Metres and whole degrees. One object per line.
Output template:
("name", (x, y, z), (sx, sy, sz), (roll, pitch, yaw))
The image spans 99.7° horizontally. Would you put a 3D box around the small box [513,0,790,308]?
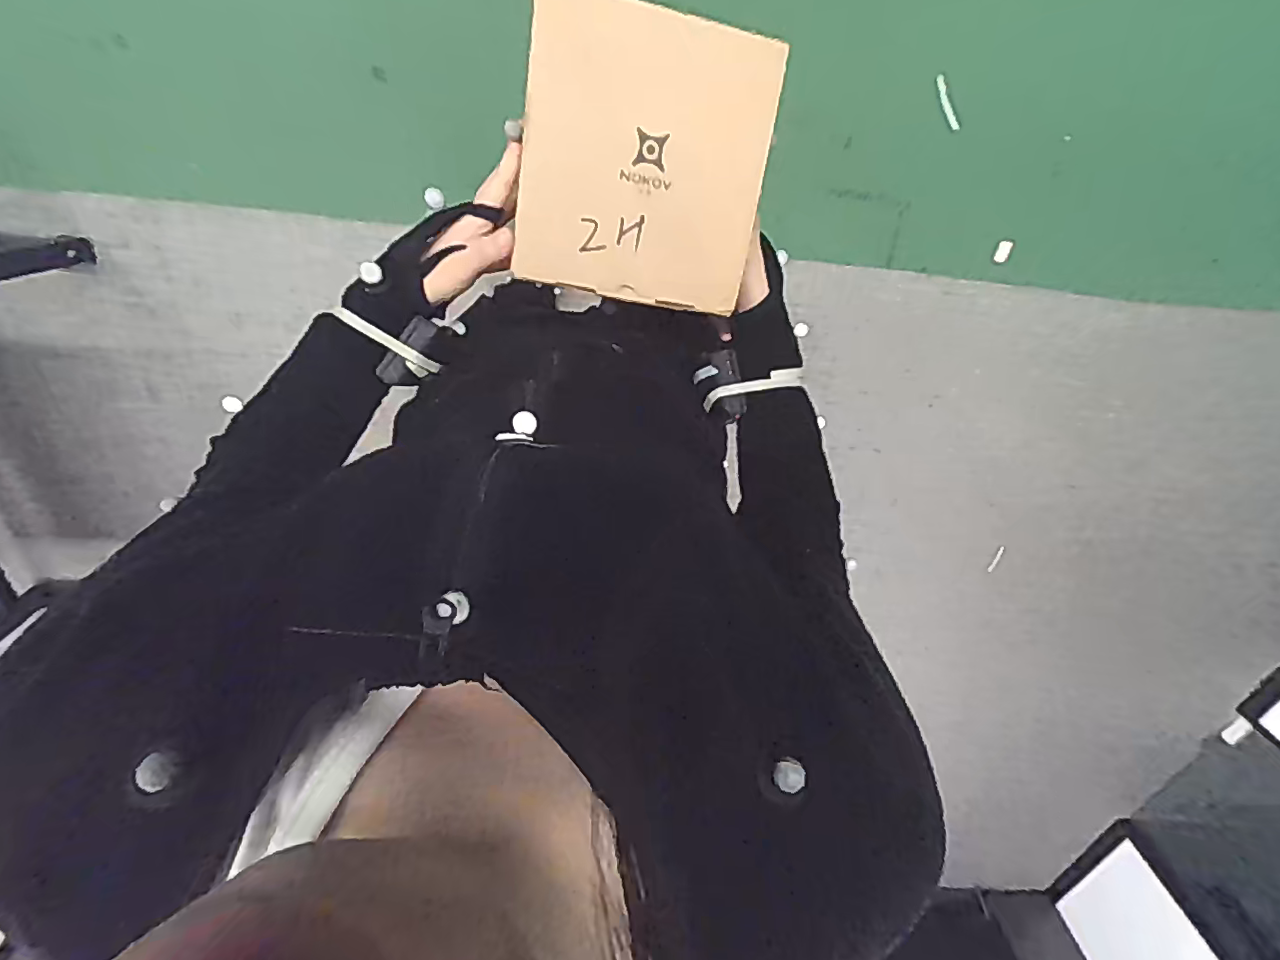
("small box", (-0.007, -0.243, 0.434), (0.168, 0.176, 0.179), (7, 108, -12))
